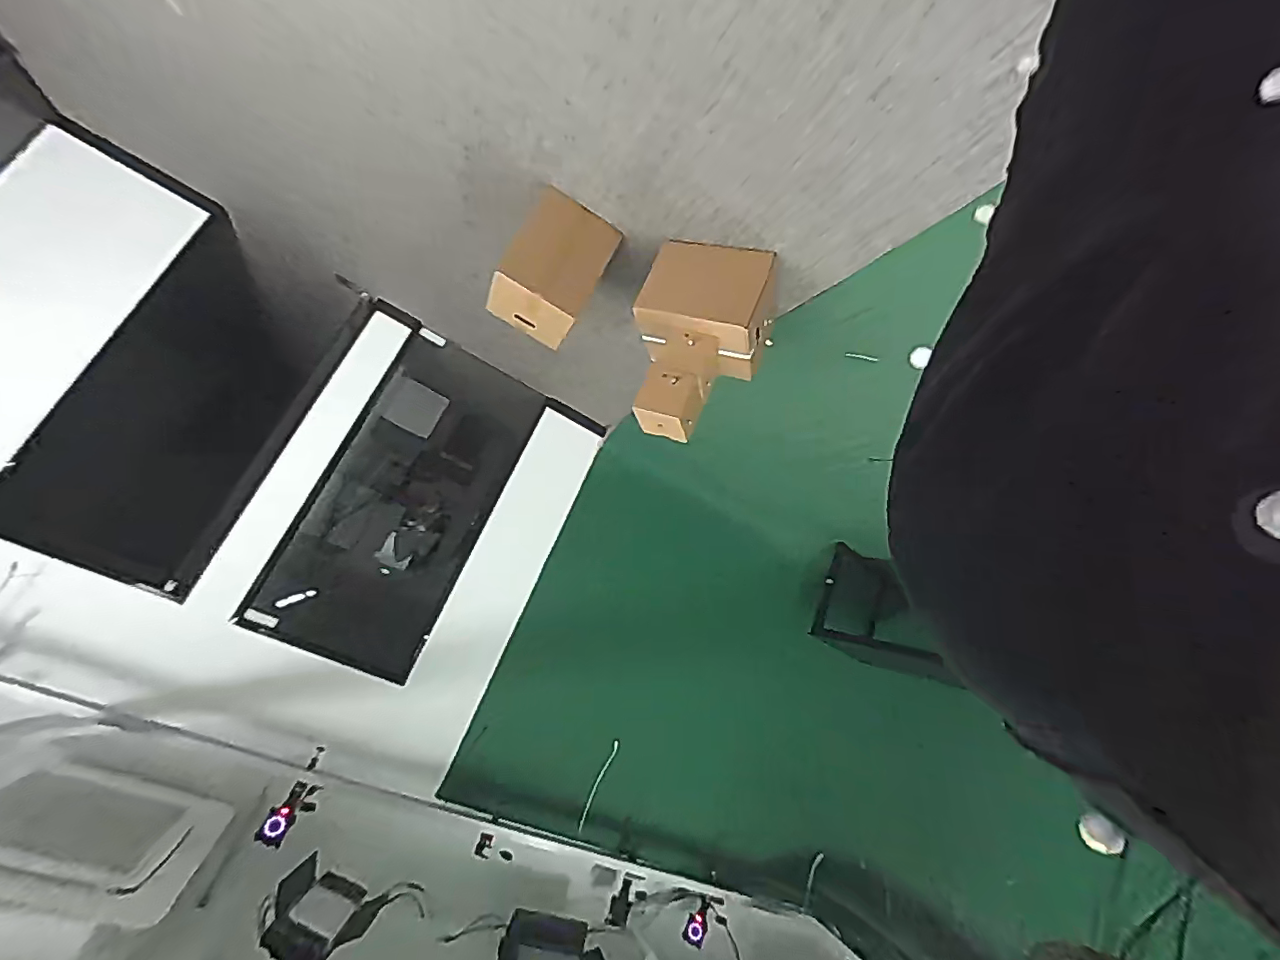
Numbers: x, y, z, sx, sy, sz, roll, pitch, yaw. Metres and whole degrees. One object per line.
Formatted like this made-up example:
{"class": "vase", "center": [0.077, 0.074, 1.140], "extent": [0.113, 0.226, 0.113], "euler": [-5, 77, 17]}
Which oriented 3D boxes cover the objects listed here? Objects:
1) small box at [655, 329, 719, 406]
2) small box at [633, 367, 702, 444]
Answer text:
{"class": "small box", "center": [0.167, -0.386, 1.850], "extent": [0.168, 0.176, 0.179], "euler": [18, 162, 17]}
{"class": "small box", "center": [0.099, -0.247, 1.800], "extent": [0.168, 0.176, 0.179], "euler": [17, 162, 20]}
